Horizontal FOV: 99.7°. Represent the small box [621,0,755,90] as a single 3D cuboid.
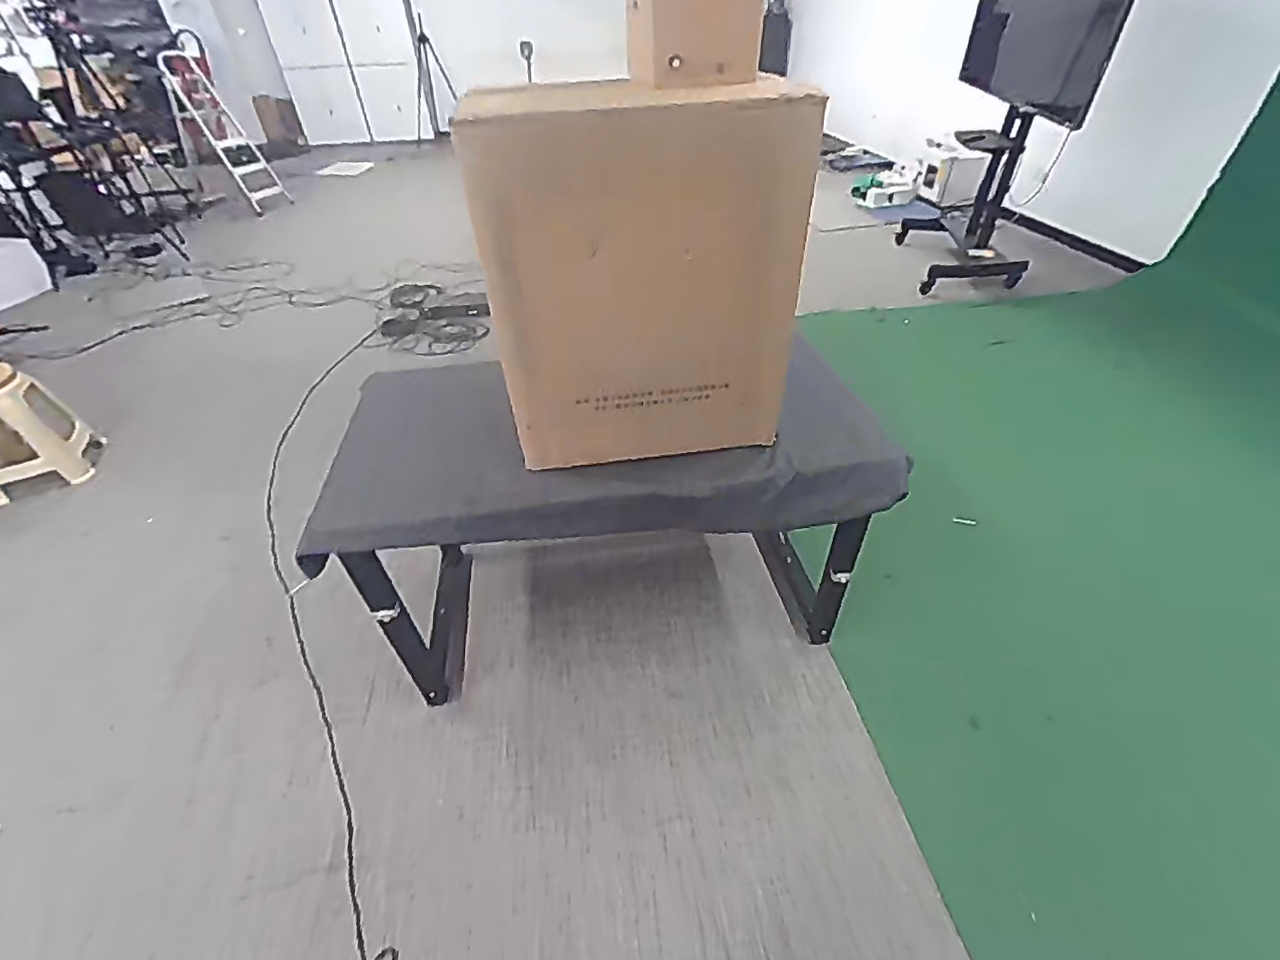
[{"bbox_3d":[0.069,-0.705,0.820,0.168,0.176,0.179,-11,43,-9],"label":"small box"}]
